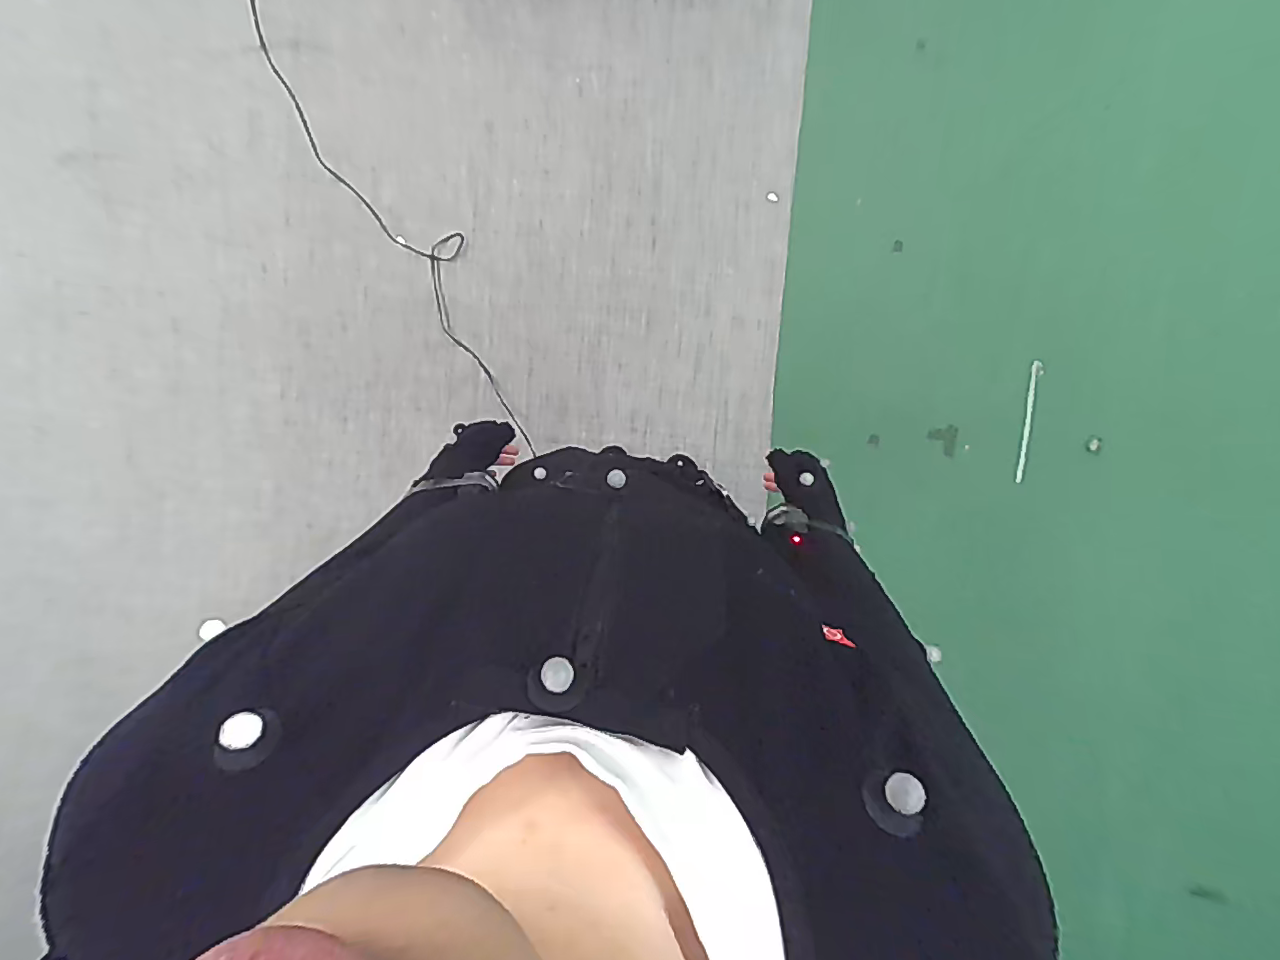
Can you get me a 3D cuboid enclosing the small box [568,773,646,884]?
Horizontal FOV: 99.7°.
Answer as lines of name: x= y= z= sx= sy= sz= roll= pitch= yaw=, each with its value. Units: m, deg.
small box: x=-0.081 y=0.890 z=1.401 sx=0.168 sy=0.176 sz=0.179 roll=-12 pitch=95 yaw=2
